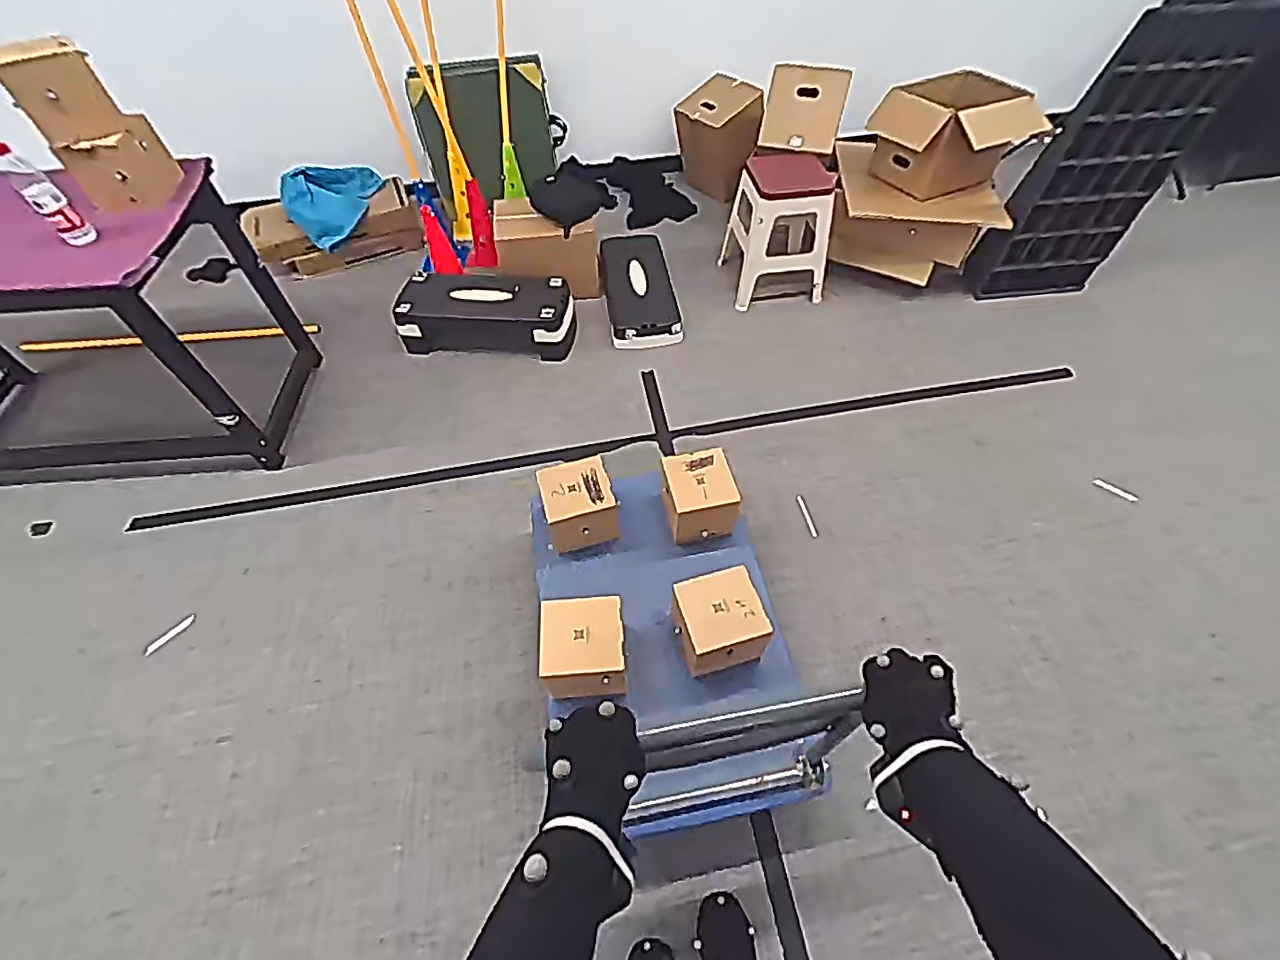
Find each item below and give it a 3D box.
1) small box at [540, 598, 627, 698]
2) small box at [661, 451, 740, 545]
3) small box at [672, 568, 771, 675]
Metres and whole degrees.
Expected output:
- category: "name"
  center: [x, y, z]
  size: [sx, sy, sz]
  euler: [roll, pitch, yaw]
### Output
- category: "small box"
  center: [-0.123, 0.380, 1.212]
  size: [0.179, 0.176, 0.168]
  euler: [-4, 54, -3]
- category: "small box"
  center: [0.153, 0.050, 1.444]
  size: [0.168, 0.176, 0.179]
  euler: [-11, 56, -6]
- category: "small box"
  center: [0.178, 0.329, 1.242]
  size: [0.179, 0.176, 0.168]
  euler: [-14, 55, -9]
